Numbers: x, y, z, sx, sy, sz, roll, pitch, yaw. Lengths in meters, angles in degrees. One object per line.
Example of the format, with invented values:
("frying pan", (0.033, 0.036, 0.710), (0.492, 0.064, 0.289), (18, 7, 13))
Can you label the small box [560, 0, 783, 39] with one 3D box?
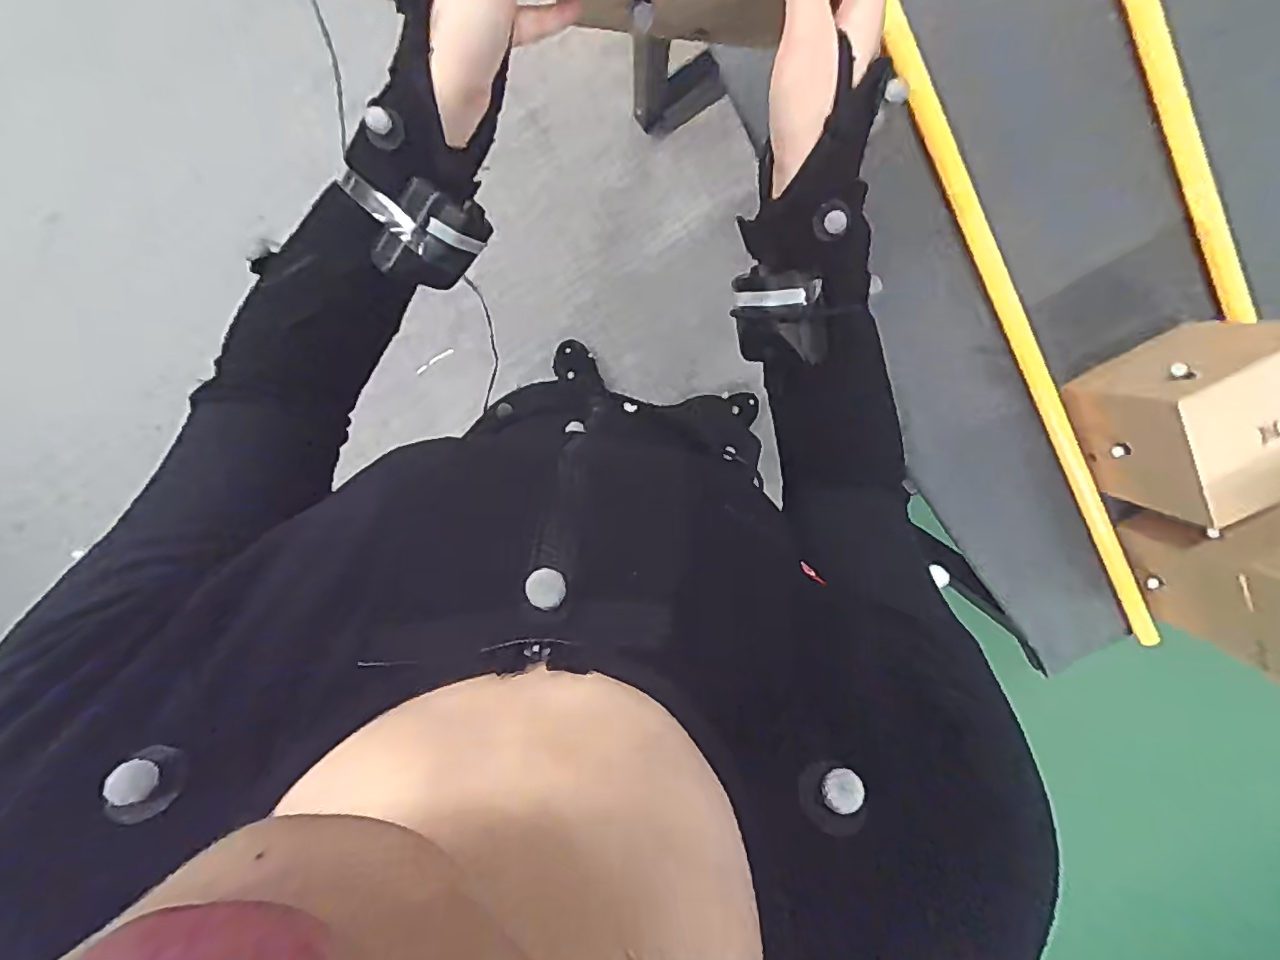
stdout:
("small box", (0.022, -0.385, 0.311), (0.168, 0.176, 0.179), (6, 117, 0))

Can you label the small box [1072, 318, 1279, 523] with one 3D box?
("small box", (0.671, -0.076, 0.649), (0.179, 0.176, 0.168), (-28, 103, 6))

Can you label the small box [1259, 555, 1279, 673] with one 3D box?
("small box", (0.792, 0.153, 0.539), (0.168, 0.176, 0.179), (-26, 103, 6))
